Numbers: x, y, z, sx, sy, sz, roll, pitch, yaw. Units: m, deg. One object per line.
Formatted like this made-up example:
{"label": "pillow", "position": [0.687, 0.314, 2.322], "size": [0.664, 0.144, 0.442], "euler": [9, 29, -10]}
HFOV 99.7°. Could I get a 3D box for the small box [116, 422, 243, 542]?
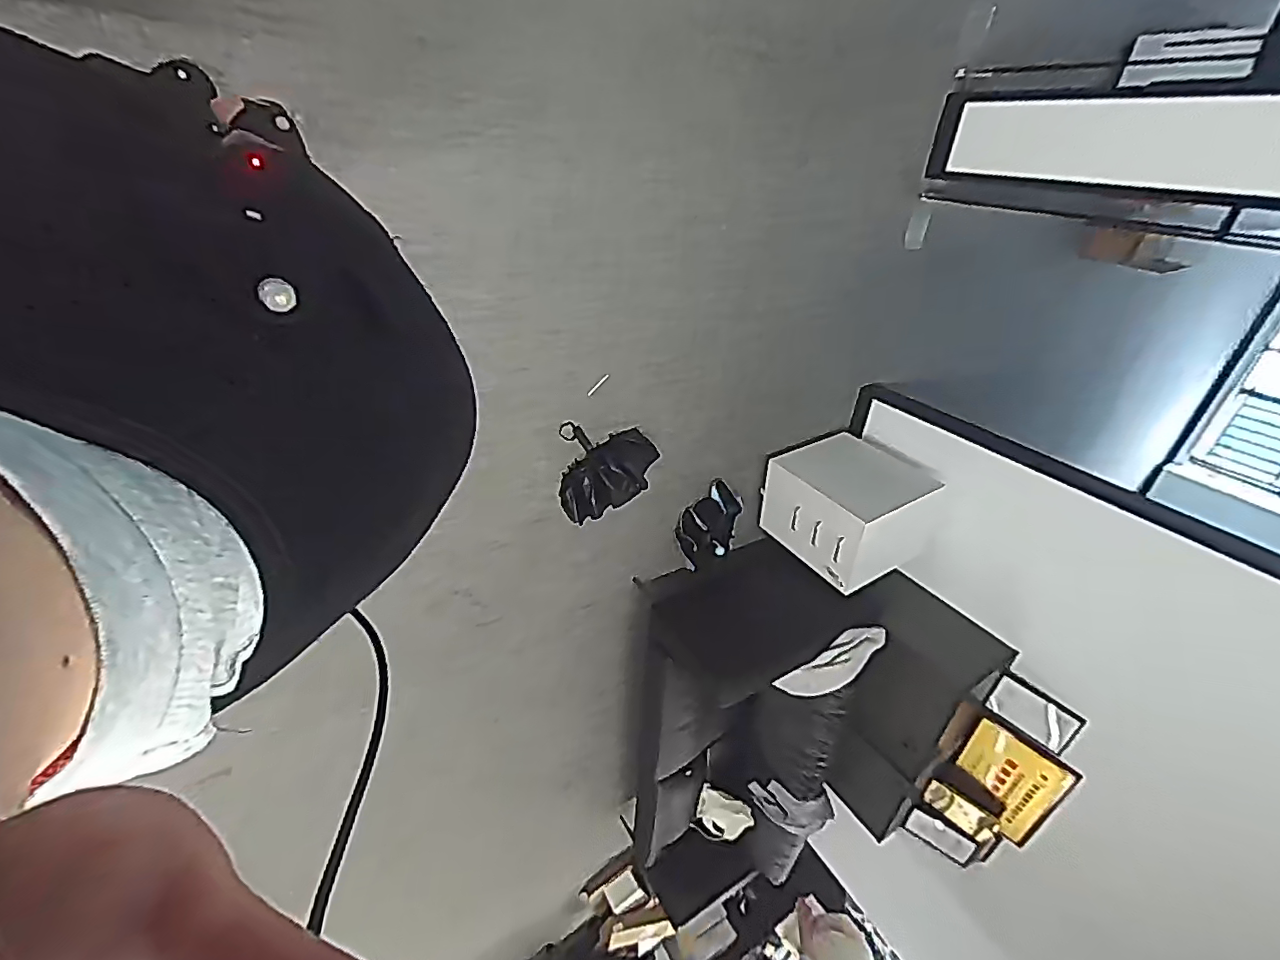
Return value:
{"label": "small box", "position": [-0.960, 0.005, 1.138], "size": [0.168, 0.176, 0.179], "euler": [18, 106, -43]}
